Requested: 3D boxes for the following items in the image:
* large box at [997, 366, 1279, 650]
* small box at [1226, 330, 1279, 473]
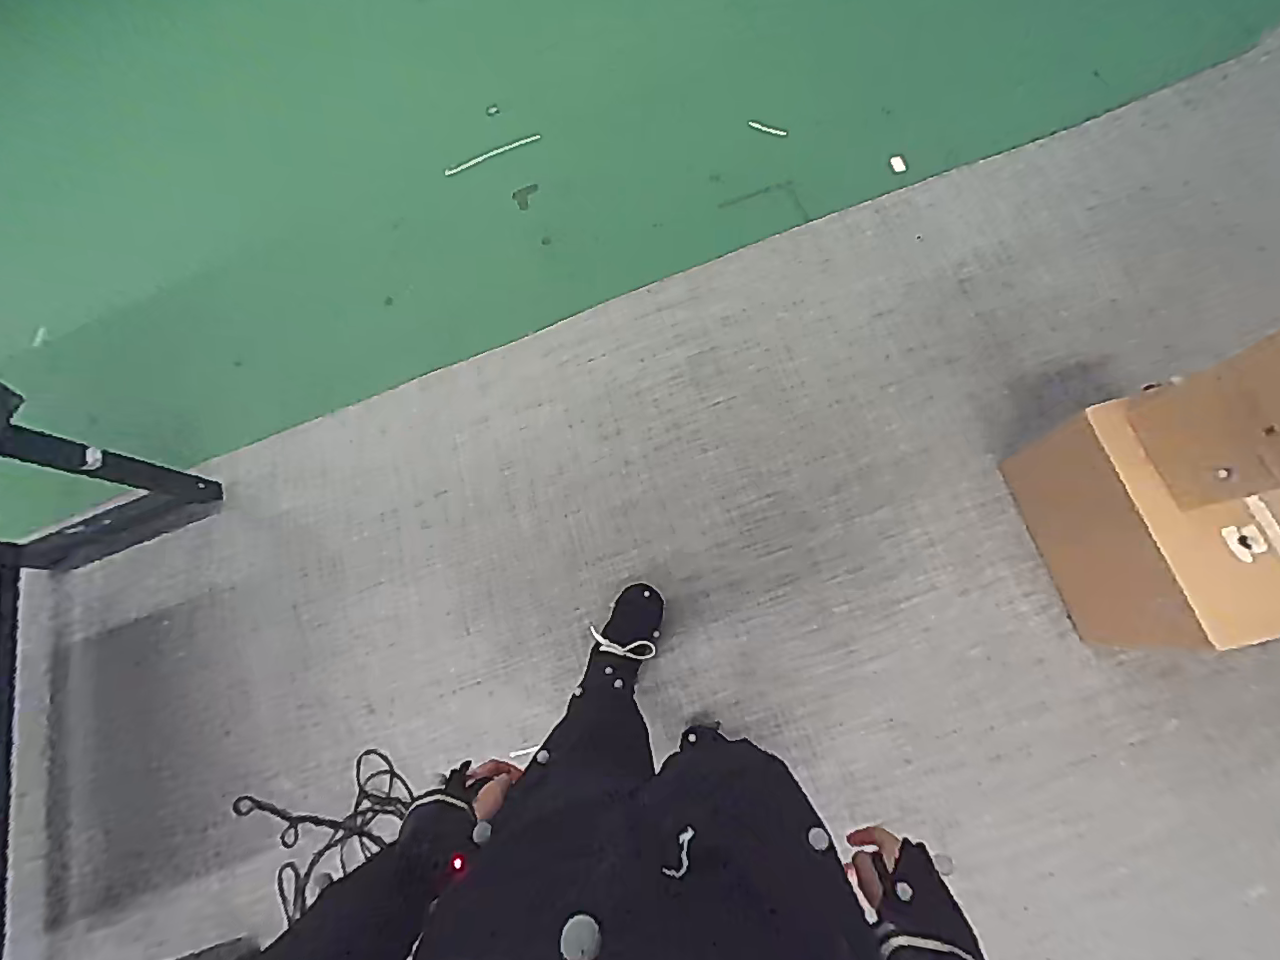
[{"bbox_3d":[0.951,0.060,0.977,0.320,0.320,0.408,-17,74,5],"label":"large box"},{"bbox_3d":[0.846,-0.116,0.616,0.179,0.176,0.168,-14,75,4],"label":"small box"}]
